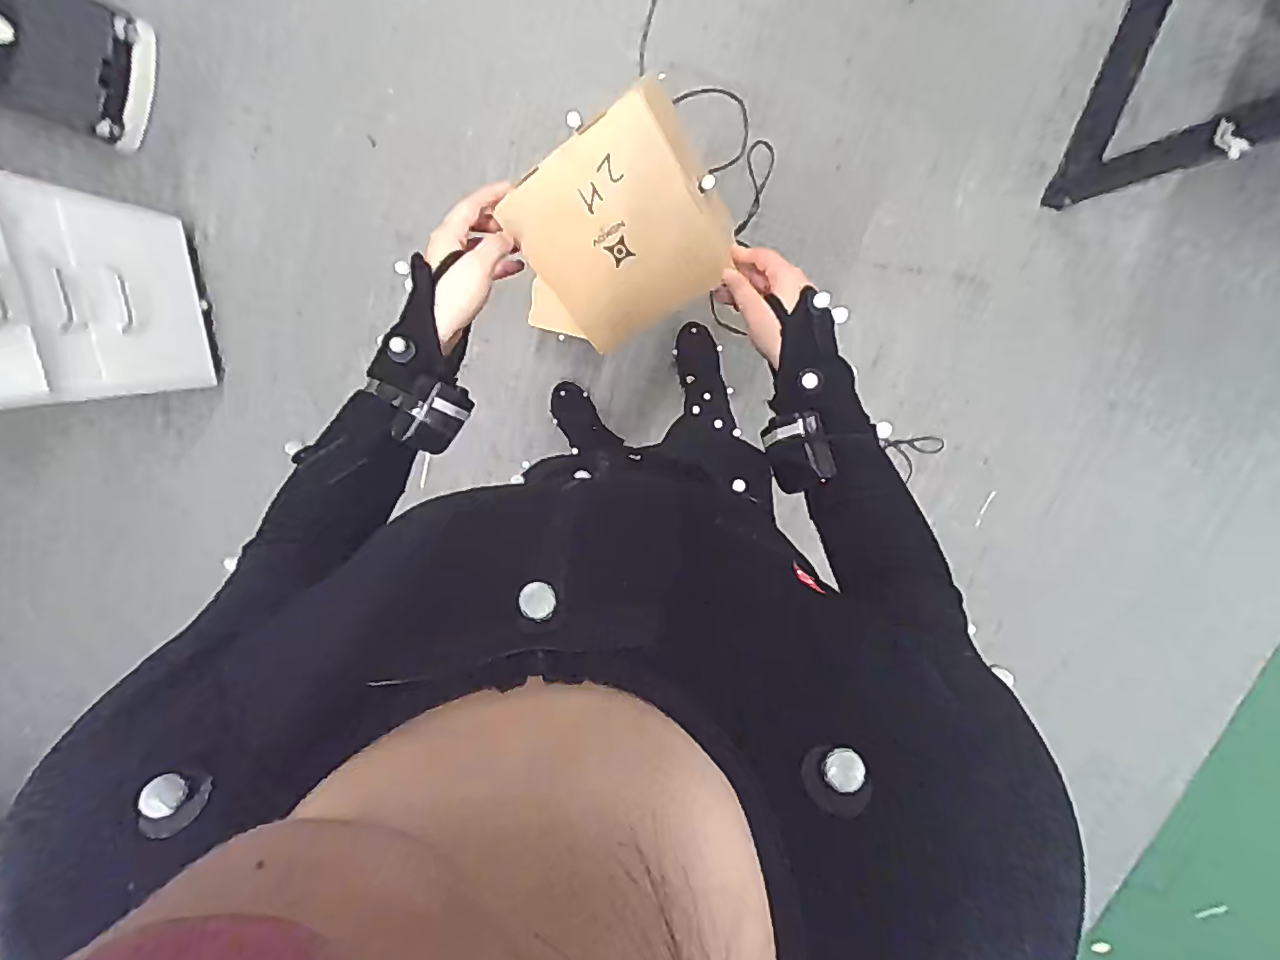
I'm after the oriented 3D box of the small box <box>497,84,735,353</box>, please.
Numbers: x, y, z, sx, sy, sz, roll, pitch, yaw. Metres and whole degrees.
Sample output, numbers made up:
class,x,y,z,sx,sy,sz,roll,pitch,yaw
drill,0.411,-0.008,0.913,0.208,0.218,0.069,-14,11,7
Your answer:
class,x,y,z,sx,sy,sz,roll,pitch,yaw
small box,-0.012,-0.274,0.568,0.168,0.176,0.179,-24,123,25

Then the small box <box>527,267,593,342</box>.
class,x,y,z,sx,sy,sz,roll,pitch,yaw
small box,-0.158,-0.435,1.306,0.179,0.176,0.168,13,105,-2
